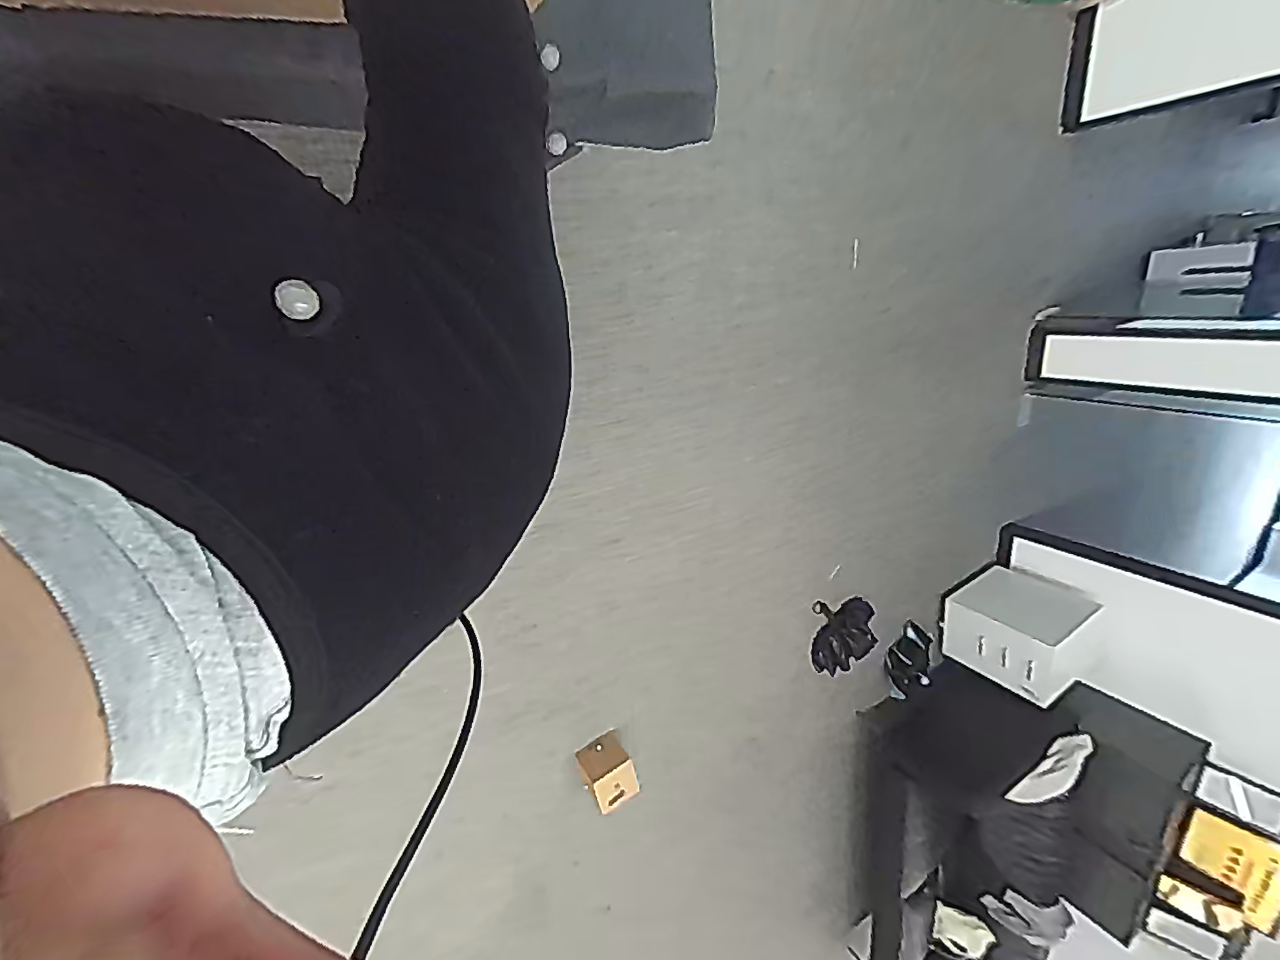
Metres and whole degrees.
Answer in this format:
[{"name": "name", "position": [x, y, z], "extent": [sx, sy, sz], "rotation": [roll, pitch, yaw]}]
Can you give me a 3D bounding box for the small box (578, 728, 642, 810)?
[{"name": "small box", "position": [-0.116, 1.095, 2.061], "extent": [0.168, 0.176, 0.179], "rotation": [-24, 115, -25]}]
